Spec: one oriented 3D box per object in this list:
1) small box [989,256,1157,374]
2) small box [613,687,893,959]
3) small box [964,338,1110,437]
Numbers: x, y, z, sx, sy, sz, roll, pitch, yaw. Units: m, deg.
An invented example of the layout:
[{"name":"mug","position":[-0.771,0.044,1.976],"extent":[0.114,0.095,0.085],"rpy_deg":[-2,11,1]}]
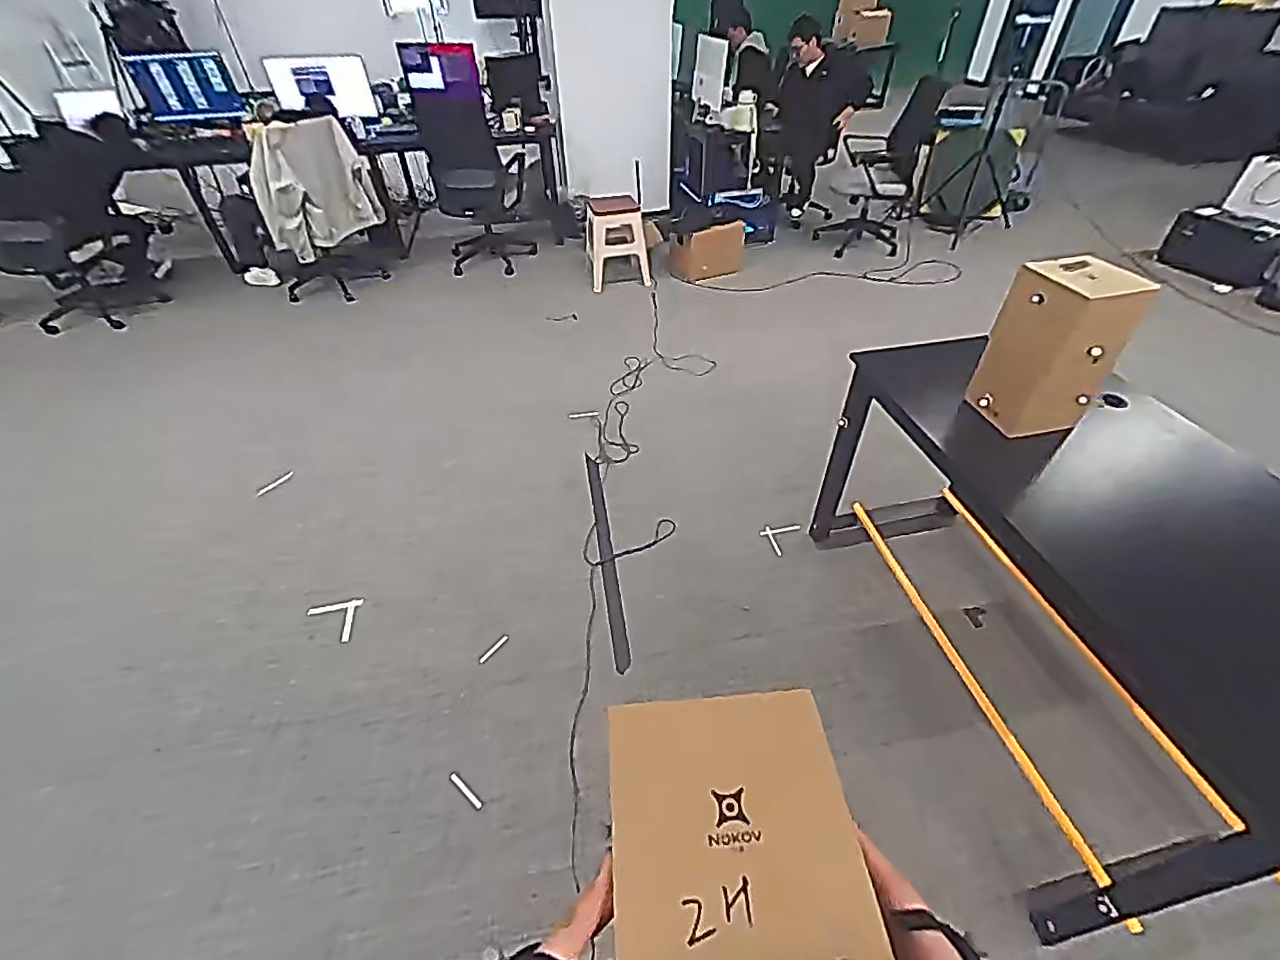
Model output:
[{"name":"small box","position":[0.872,-0.341,1.114],"extent":[0.168,0.176,0.179],"rpy_deg":[-11,44,-9]},{"name":"small box","position":[0.065,0.290,0.430],"extent":[0.168,0.176,0.179],"rpy_deg":[-4,44,-1]},{"name":"small box","position":[0.884,-0.220,1.225],"extent":[0.179,0.176,0.168],"rpy_deg":[-11,42,-8]}]
